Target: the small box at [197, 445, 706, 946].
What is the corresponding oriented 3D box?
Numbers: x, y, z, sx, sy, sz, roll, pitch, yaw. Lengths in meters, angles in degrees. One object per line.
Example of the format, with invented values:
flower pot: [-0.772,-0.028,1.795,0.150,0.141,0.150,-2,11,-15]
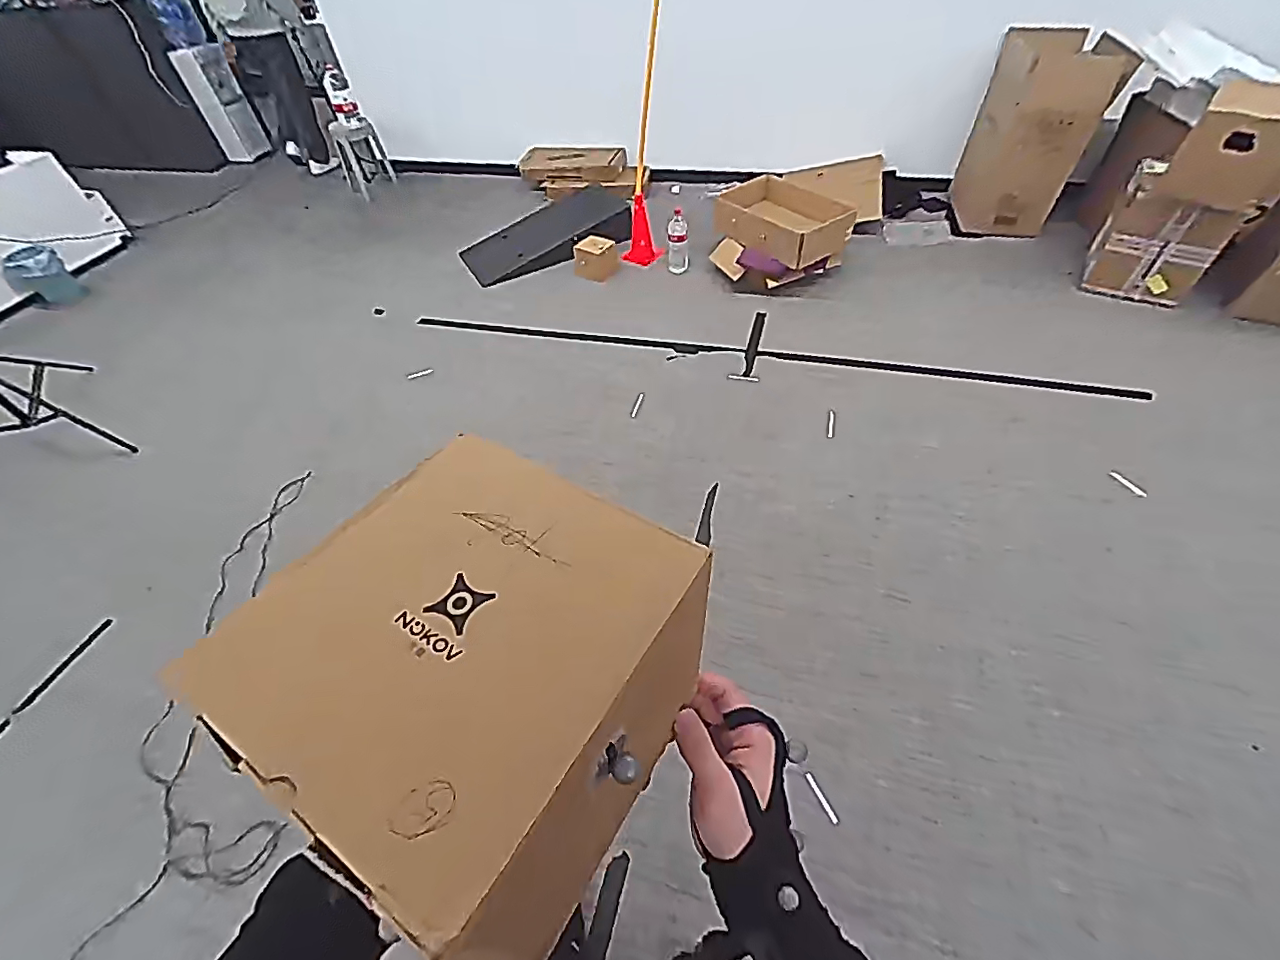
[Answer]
small box: [-0.076,0.117,0.307,0.168,0.176,0.179,24,52,22]
